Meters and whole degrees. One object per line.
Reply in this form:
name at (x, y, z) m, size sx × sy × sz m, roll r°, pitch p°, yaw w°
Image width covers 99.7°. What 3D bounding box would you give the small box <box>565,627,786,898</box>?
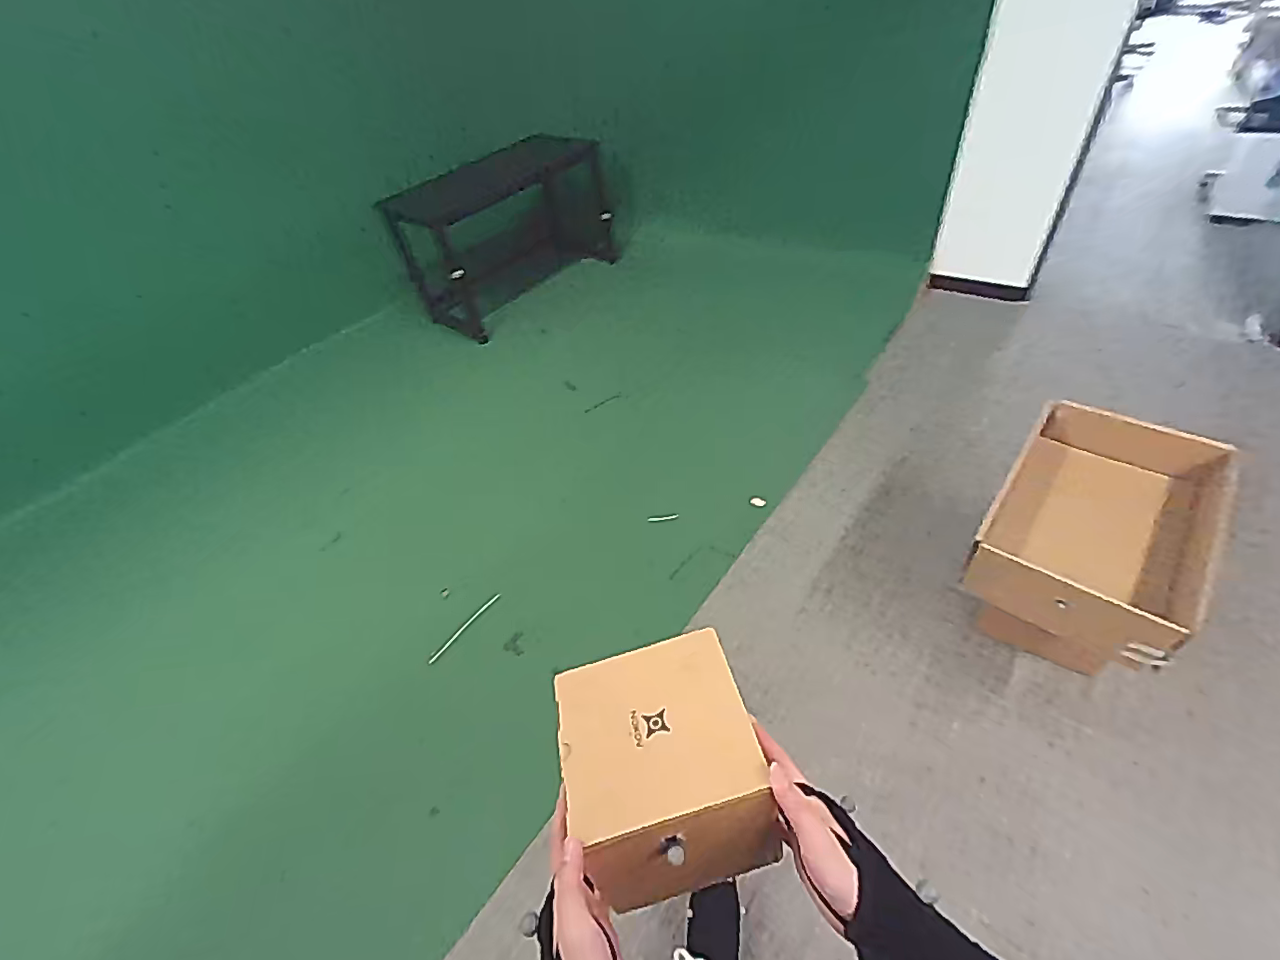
small box at (0.036, 0.282, 0.543) m, size 0.179 × 0.176 × 0.168 m, roll -17°, pitch 38°, yaw 0°
